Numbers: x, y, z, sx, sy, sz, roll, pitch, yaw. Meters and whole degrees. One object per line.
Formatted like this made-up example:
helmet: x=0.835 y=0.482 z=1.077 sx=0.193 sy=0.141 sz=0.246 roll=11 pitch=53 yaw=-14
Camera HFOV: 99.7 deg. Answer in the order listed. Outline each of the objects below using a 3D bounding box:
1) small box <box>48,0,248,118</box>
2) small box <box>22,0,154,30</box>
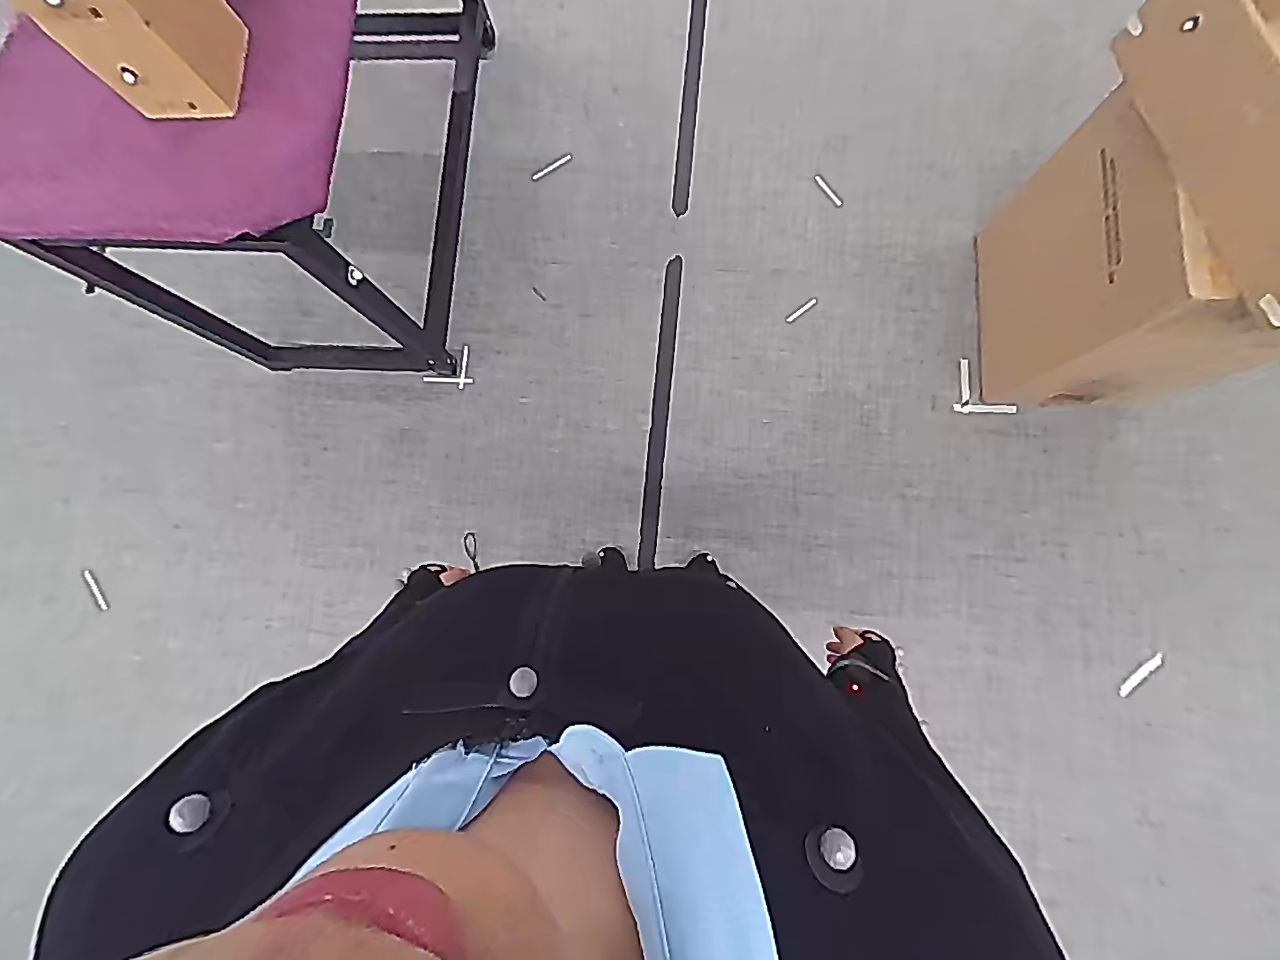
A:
small box: x=-0.781 y=-0.724 z=0.878 sx=0.168 sy=0.176 sz=0.179 roll=1 pitch=81 yaw=3
small box: x=-0.785 y=-0.750 z=0.716 sx=0.168 sy=0.176 sz=0.179 roll=1 pitch=82 yaw=4
